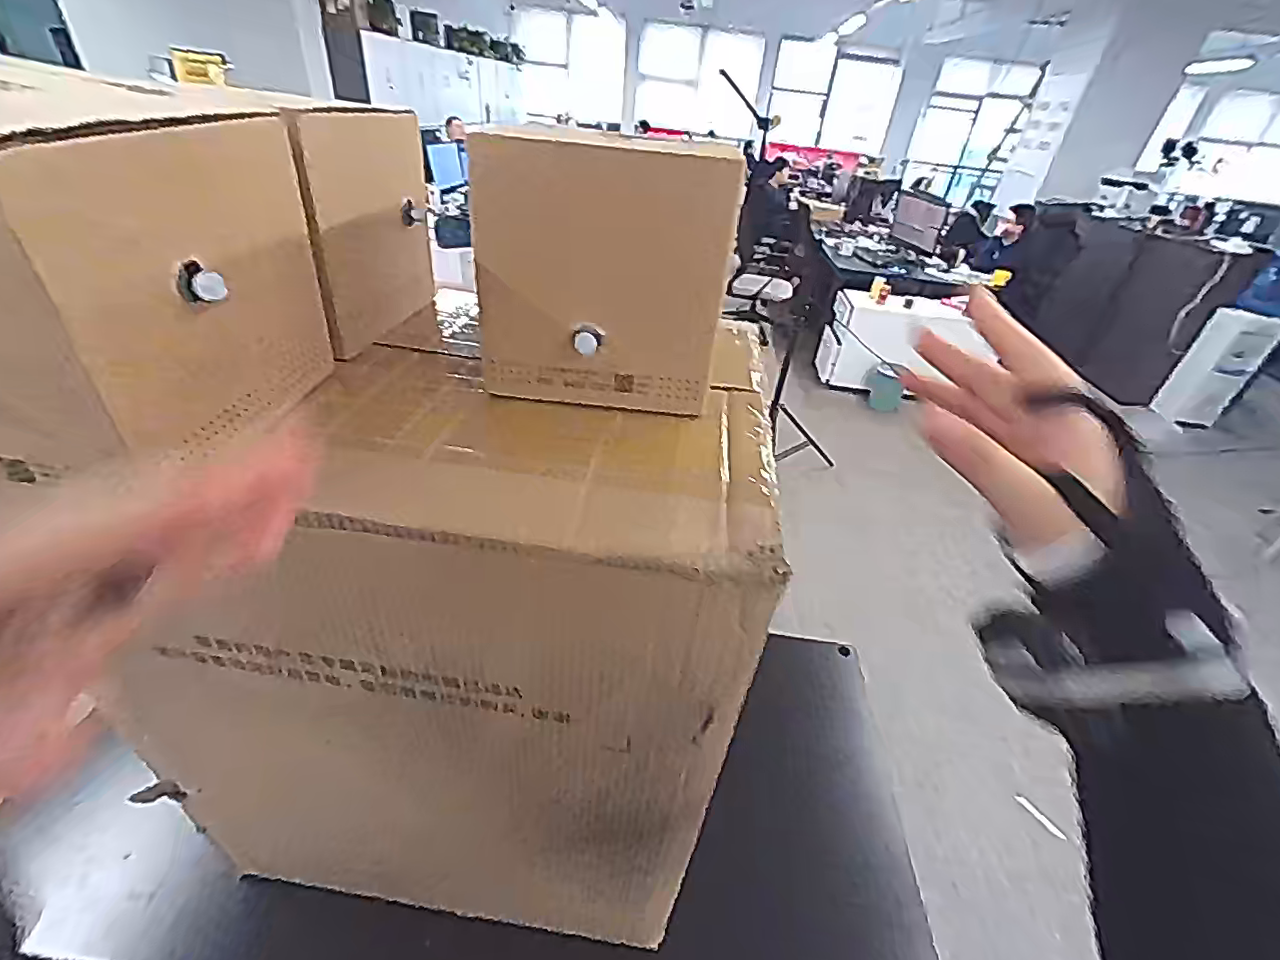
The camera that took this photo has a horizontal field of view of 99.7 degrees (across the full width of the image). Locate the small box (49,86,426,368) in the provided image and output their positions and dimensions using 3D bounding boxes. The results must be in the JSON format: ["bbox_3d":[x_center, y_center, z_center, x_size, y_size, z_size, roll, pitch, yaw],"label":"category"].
[{"bbox_3d":[-0.294,-0.211,0.451,0.168,0.176,0.179,7,34,1],"label":"small box"}]

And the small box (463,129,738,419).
[{"bbox_3d":[-0.024,-0.166,0.424,0.168,0.176,0.179,5,34,1],"label":"small box"}]
